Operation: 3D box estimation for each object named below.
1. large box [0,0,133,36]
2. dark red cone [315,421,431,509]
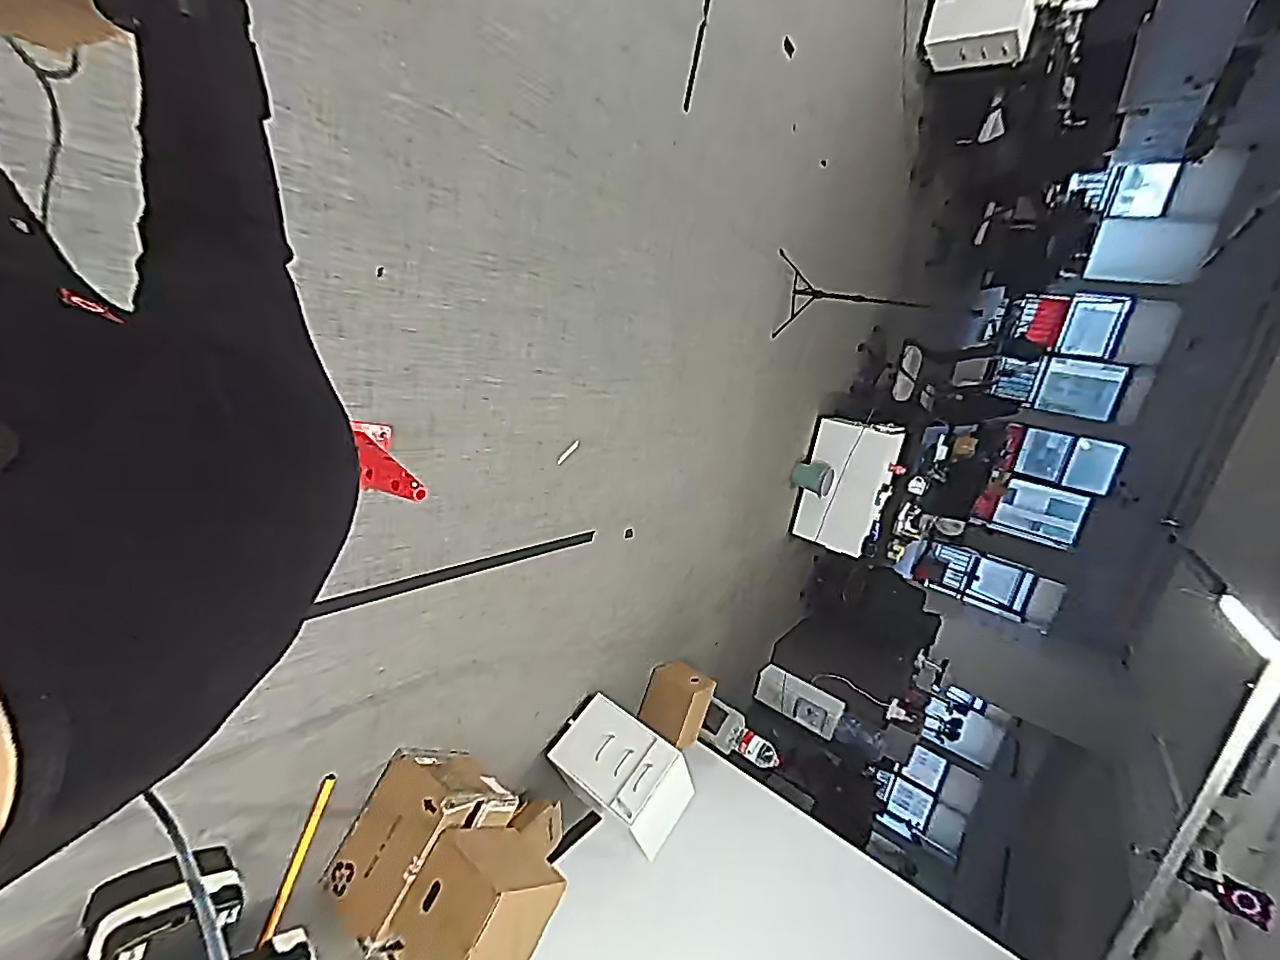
[{"bbox_3d":[-0.540,-0.483,0.242,0.408,0.320,0.320,-15,123,-52],"label":"large box"},{"bbox_3d":[-0.656,-0.009,1.393,0.201,0.394,0.202,1,106,-53],"label":"dark red cone"}]
